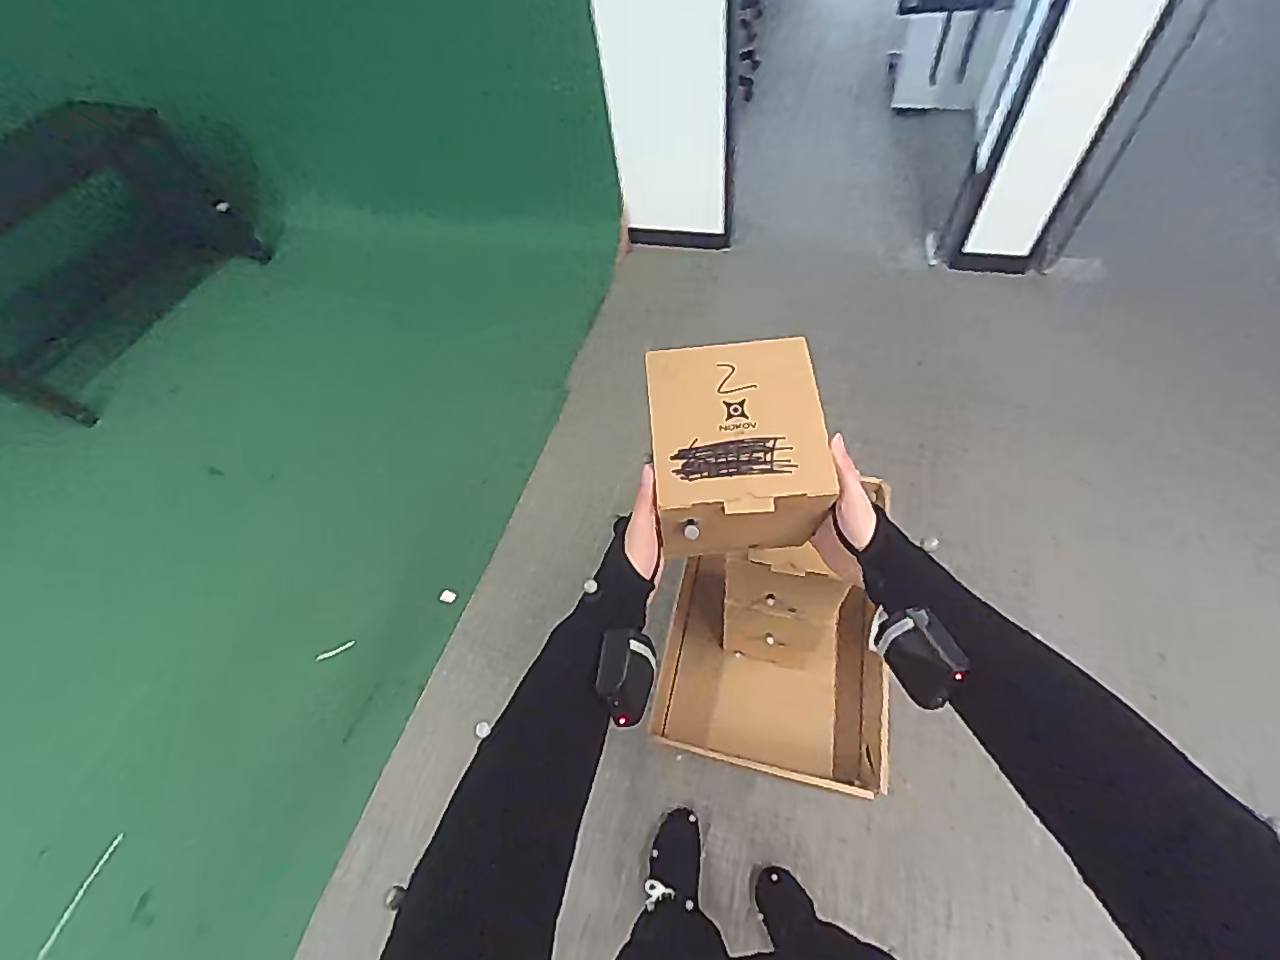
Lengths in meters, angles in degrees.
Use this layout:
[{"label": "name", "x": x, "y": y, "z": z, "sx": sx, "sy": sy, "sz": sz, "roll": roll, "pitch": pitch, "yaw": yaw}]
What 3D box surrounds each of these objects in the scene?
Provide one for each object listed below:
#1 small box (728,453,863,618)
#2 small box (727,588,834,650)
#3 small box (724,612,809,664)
[{"label": "small box", "x": 0.228, "y": 0.086, "z": 0.818, "sx": 0.168, "sy": 0.176, "sz": 0.179, "roll": 9, "pitch": 60, "yaw": 13}, {"label": "small box", "x": 0.247, "y": 0.176, "z": 0.951, "sx": 0.168, "sy": 0.176, "sz": 0.179, "roll": 9, "pitch": 59, "yaw": 14}, {"label": "small box", "x": 0.268, "y": 0.255, "z": 1.095, "sx": 0.168, "sy": 0.176, "sz": 0.179, "roll": 10, "pitch": 59, "yaw": 14}]
